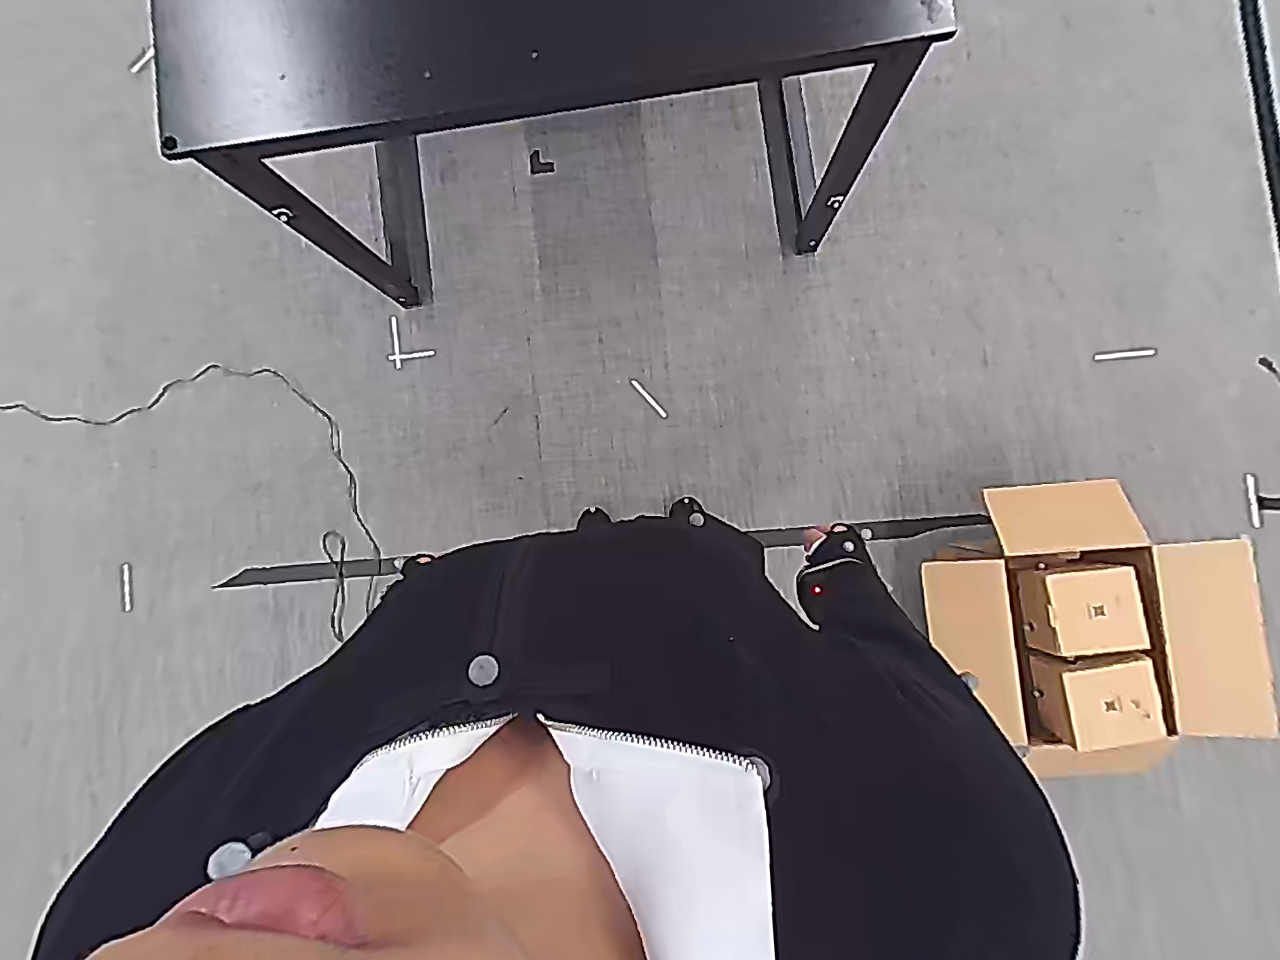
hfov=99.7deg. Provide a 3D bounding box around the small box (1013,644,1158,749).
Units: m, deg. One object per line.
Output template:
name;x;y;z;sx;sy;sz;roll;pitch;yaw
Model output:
small box;0.945;0.450;1.169;0.179;0.176;0.168;-12;91;3

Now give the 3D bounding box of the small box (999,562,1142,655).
small box;0.919;0.273;1.178;0.179;0.176;0.168;-8;85;2
